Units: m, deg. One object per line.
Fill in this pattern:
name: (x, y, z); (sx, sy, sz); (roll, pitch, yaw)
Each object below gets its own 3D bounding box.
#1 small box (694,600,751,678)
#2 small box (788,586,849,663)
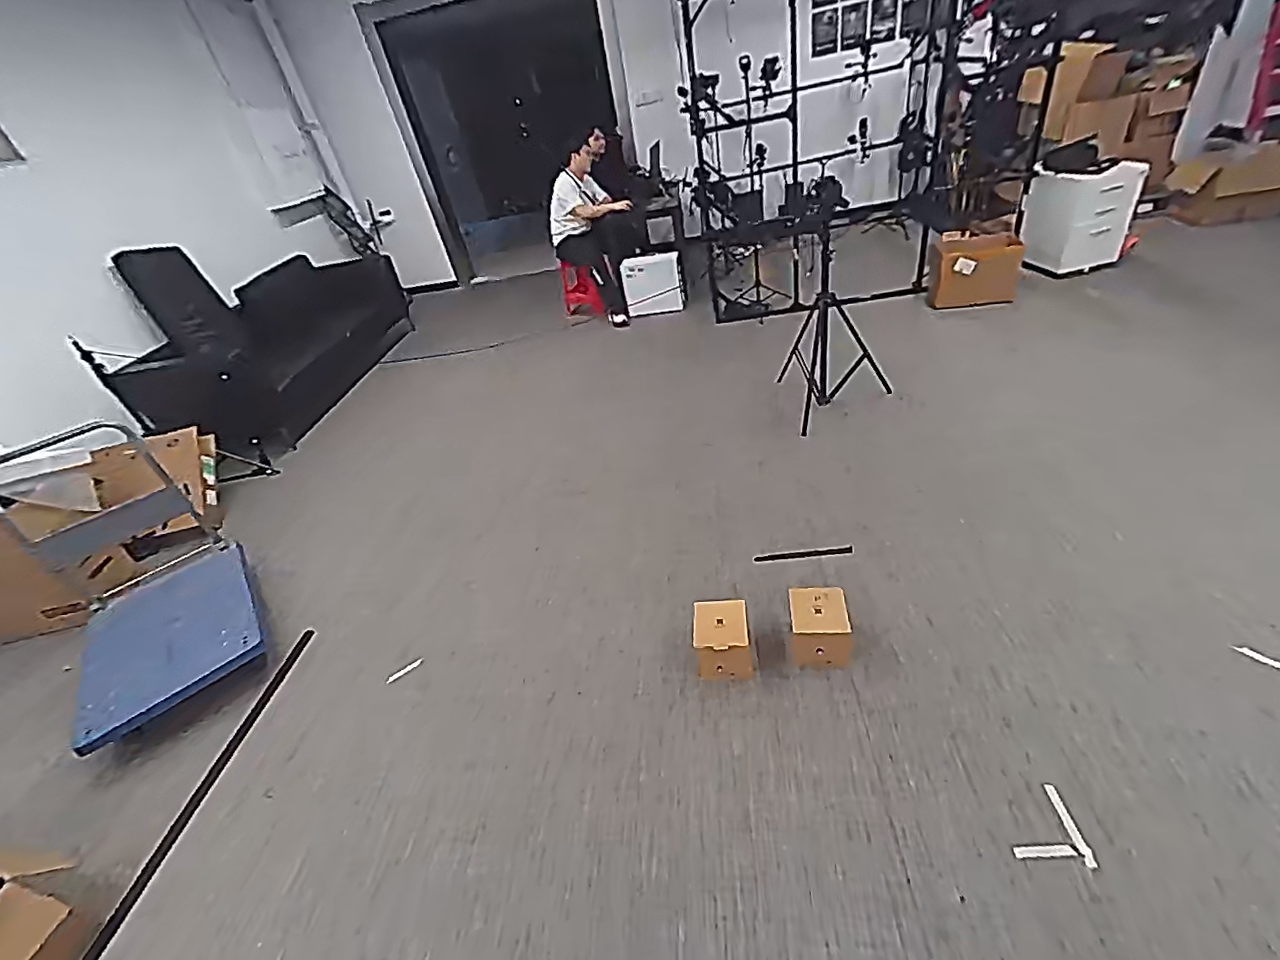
small box: (0.263, 0.506, 1.724); (0.168, 0.176, 0.179); (-6, 37, 10)
small box: (0.556, 0.456, 1.694); (0.168, 0.176, 0.179); (-3, 37, 12)
